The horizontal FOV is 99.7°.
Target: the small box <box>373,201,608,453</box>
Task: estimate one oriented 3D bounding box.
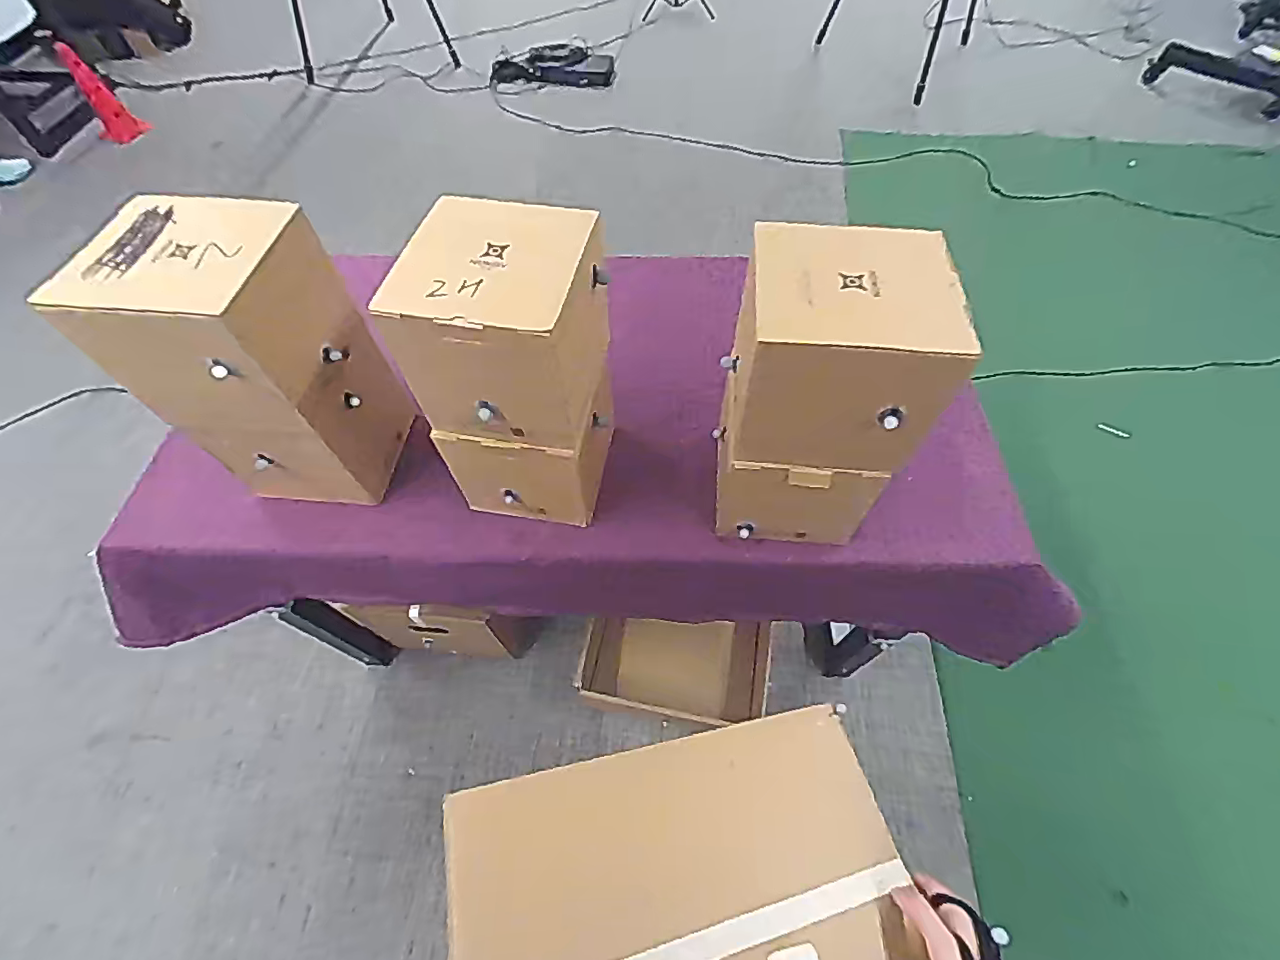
[{"bbox_3d":[-0.132,-0.154,0.561,0.168,0.176,0.179,9,60,7],"label":"small box"}]

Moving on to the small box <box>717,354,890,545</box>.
[{"bbox_3d":[0.188,-0.032,0.671,0.168,0.176,0.179,4,57,4],"label":"small box"}]

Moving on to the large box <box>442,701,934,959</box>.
[{"bbox_3d":[0.023,0.478,0.569,0.408,0.320,0.320,-6,54,-18],"label":"large box"}]

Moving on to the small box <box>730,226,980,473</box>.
[{"bbox_3d":[0.189,-0.121,0.533,0.179,0.176,0.168,5,57,5],"label":"small box"}]

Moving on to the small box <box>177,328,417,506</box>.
[{"bbox_3d":[-0.428,-0.078,0.711,0.179,0.176,0.168,4,59,4],"label":"small box"}]

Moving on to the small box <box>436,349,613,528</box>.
[{"bbox_3d":[-0.131,-0.061,0.698,0.168,0.176,0.179,8,60,6],"label":"small box"}]
